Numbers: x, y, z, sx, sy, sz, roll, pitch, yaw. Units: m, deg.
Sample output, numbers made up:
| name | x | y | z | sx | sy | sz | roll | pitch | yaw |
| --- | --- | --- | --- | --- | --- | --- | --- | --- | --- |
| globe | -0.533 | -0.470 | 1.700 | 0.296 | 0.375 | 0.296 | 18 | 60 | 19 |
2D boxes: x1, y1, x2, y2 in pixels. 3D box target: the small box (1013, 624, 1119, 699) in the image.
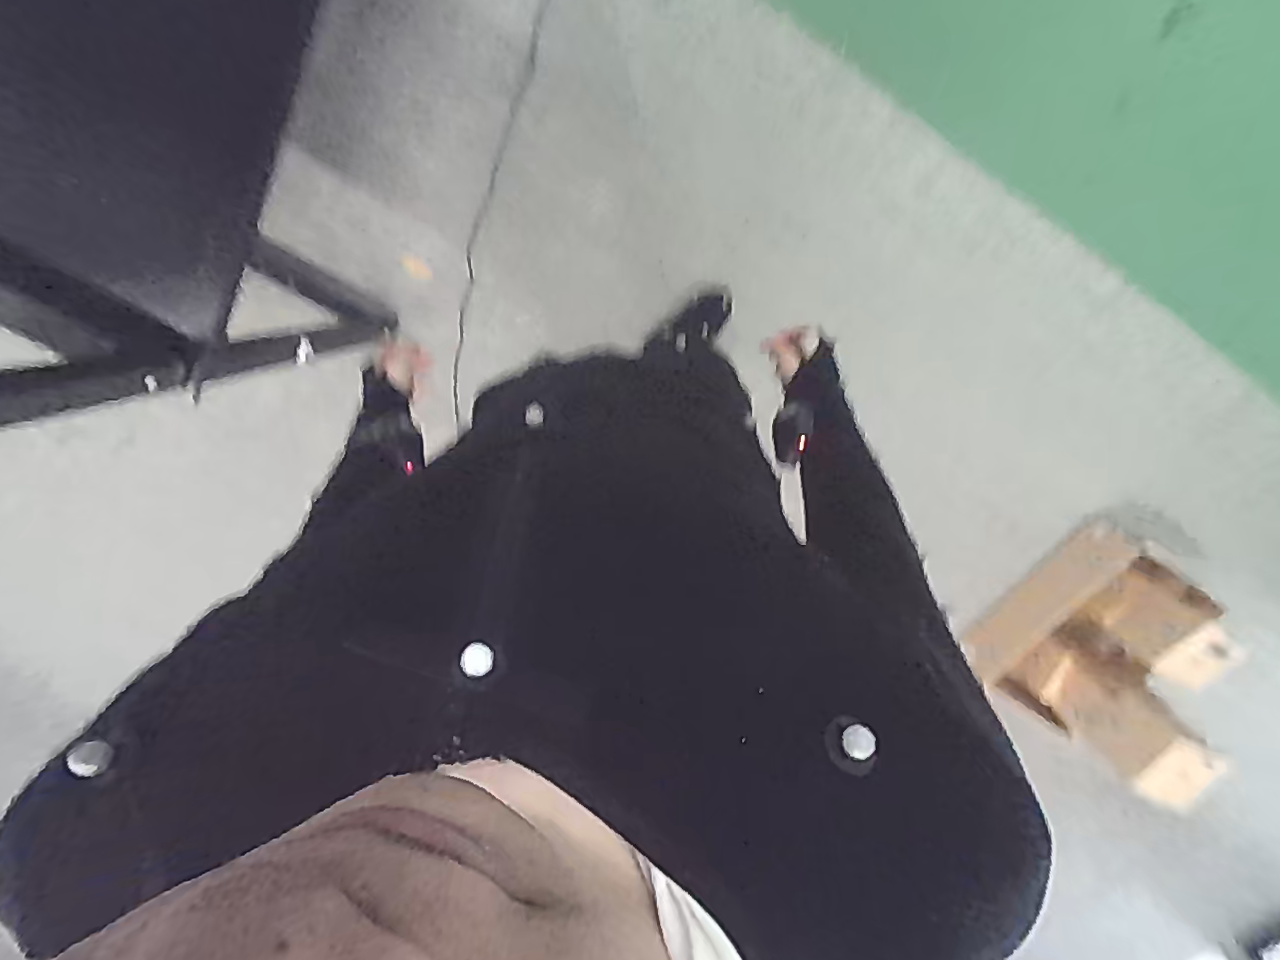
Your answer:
| name | x | y | z | sx | sy | sz | roll | pitch | yaw |
| --- | --- | --- | --- | --- | --- | --- | --- | --- | --- |
| small box | 1.334 | 0.578 | 1.702 | 0.179 | 0.176 | 0.168 | 16 | 110 | -4 |

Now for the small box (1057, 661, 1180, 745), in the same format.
| name | x | y | z | sx | sy | sz | roll | pitch | yaw |
| --- | --- | --- | --- | --- | --- | --- | --- | --- | --- |
| small box | 1.359 | 0.644 | 1.552 | 0.179 | 0.176 | 0.168 | 6 | 110 | 0 |

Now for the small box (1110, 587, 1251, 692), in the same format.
| name | x | y | z | sx | sy | sz | roll | pitch | yaw |
| --- | --- | --- | --- | --- | --- | --- | --- | --- | --- |
| small box | 1.451 | 0.425 | 1.465 | 0.168 | 0.176 | 0.179 | 35 | 109 | -11 |

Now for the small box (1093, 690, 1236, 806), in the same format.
| name | x | y | z | sx | sy | sz | roll | pitch | yaw |
| --- | --- | --- | --- | --- | --- | --- | --- | --- | --- |
| small box | 1.331 | 0.685 | 1.394 | 0.168 | 0.176 | 0.179 | 24 | 110 | -6 |
